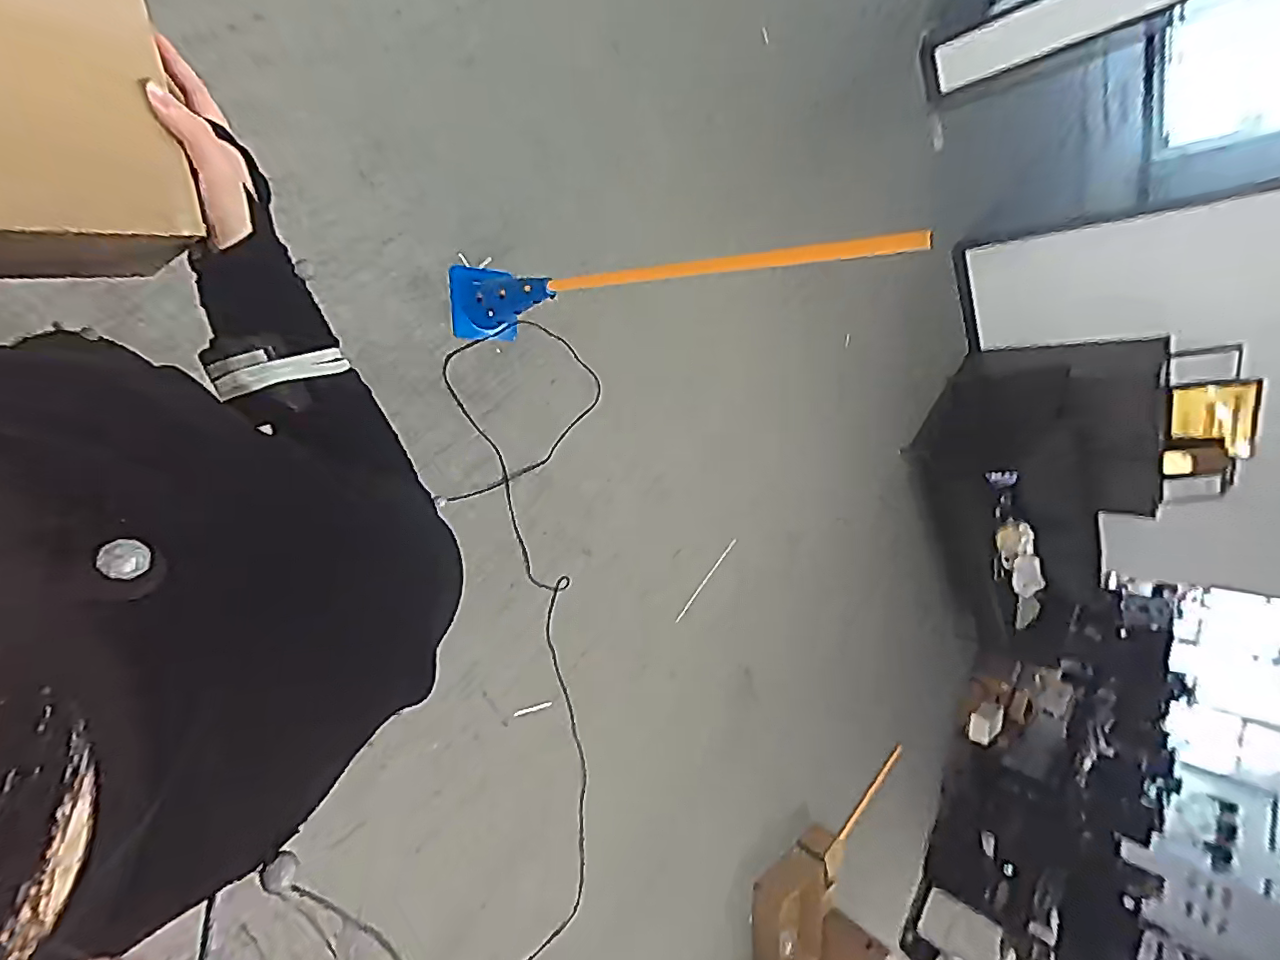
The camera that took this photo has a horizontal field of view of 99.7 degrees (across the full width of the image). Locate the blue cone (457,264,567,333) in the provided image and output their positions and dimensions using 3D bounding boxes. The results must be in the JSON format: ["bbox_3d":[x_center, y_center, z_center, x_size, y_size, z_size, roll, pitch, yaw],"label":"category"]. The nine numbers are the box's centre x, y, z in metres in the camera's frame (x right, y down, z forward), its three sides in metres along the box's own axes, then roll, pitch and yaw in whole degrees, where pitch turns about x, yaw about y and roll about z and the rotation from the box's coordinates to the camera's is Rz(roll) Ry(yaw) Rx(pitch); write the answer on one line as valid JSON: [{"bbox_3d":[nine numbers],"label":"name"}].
[{"bbox_3d":[-0.321,-0.508,1.438,0.192,0.380,0.193,-13,104,-41],"label":"blue cone"}]
